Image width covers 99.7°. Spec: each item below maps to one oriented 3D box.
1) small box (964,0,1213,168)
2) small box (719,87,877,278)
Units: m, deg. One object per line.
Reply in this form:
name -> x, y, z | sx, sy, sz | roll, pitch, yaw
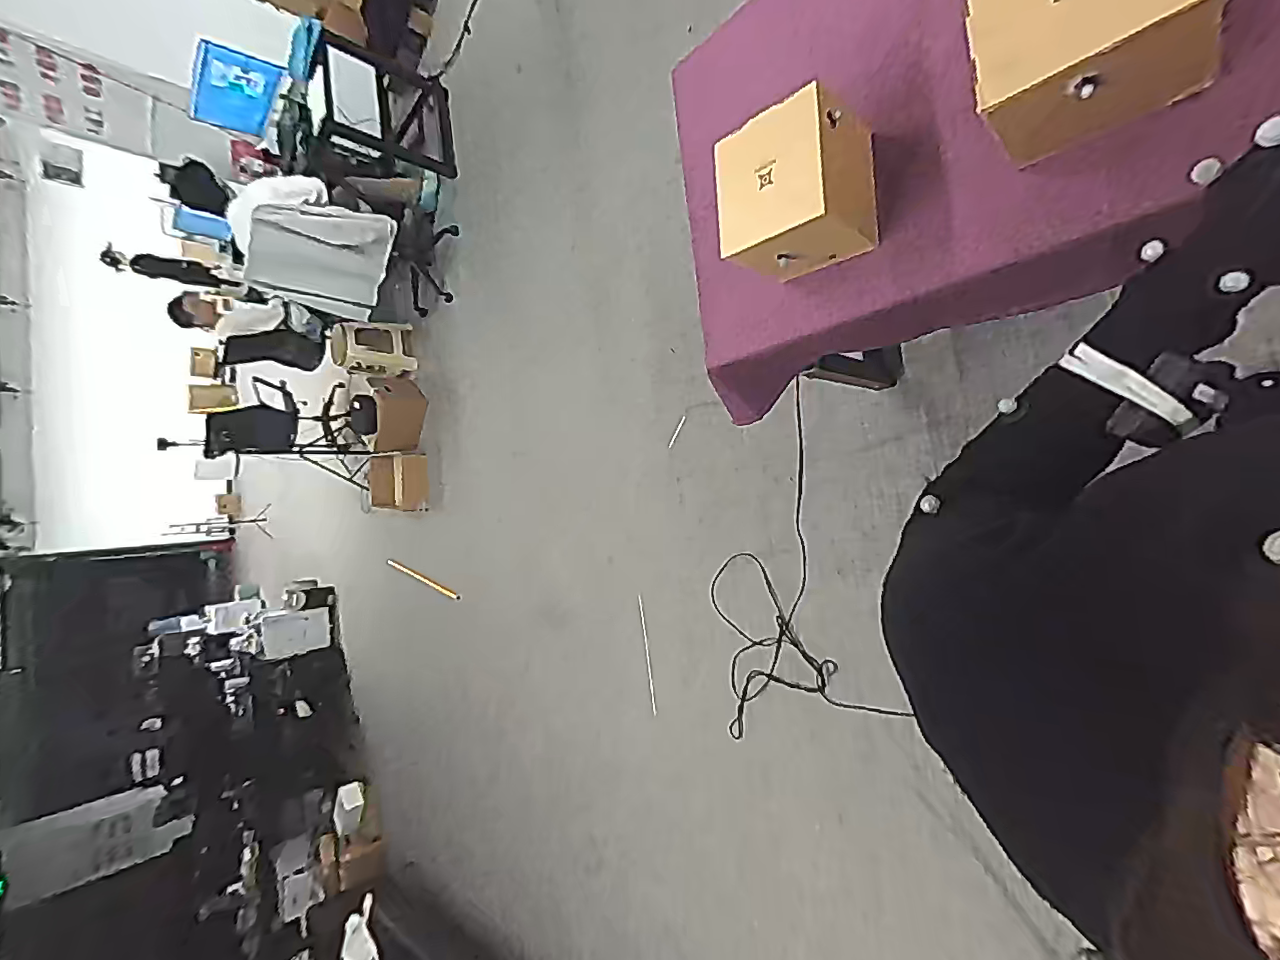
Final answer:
small box -> 0.464, -0.467, 0.563 | 0.179, 0.176, 0.168 | -7, 86, 46
small box -> 0.236, -0.417, 0.803 | 0.168, 0.176, 0.179 | -5, 86, 46
